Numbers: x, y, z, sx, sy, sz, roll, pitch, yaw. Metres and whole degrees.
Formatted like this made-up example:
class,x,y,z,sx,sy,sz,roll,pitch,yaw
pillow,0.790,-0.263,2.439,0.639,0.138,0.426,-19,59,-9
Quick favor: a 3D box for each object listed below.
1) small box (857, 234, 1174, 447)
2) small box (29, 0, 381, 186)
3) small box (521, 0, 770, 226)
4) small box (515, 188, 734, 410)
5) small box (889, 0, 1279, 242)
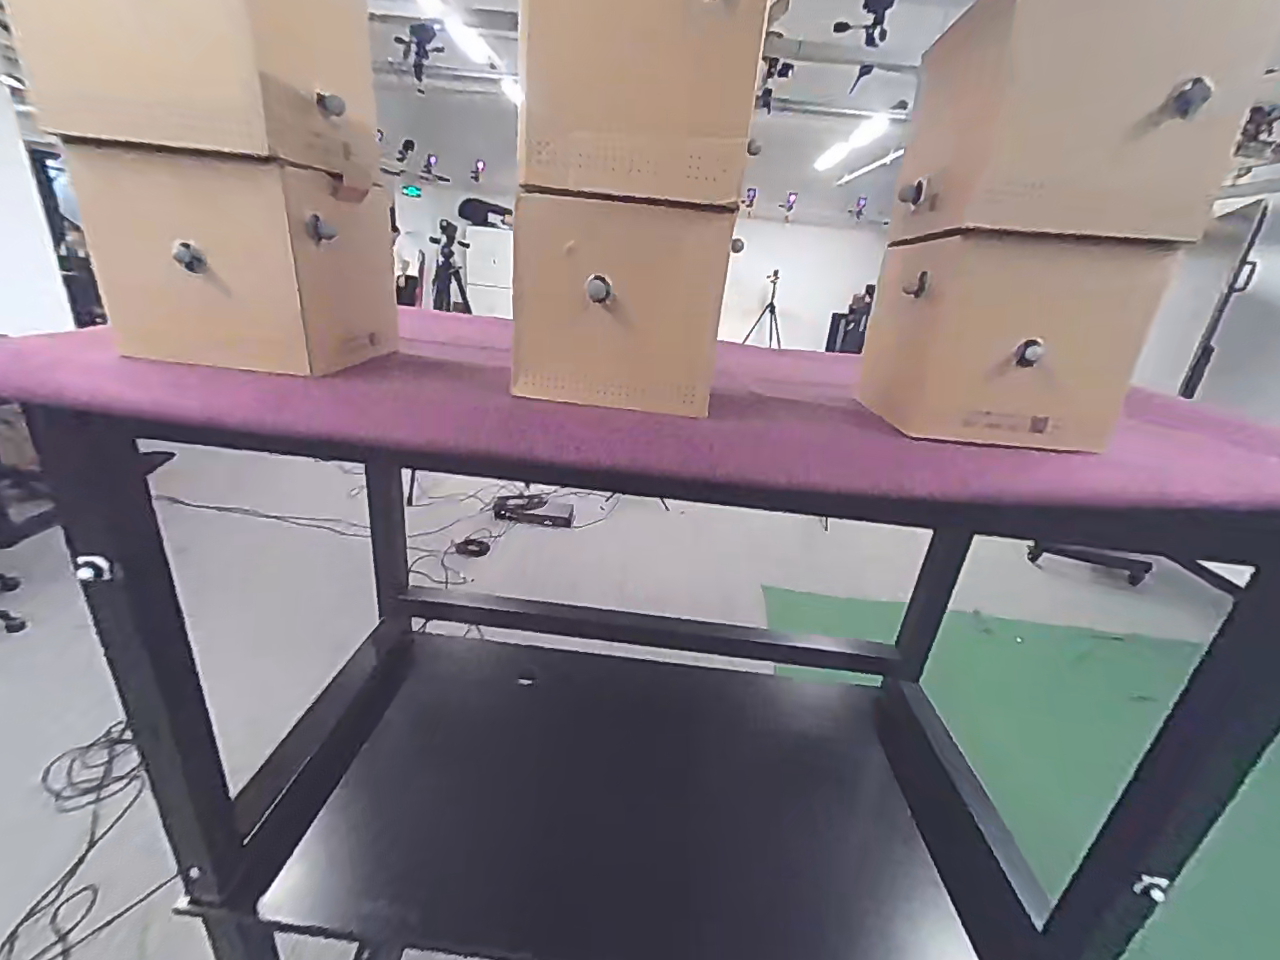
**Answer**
class,x,y,z,sx,sy,sz,roll,pitch,yaw
small box,0.328,-0.137,0.519,0.168,0.176,0.179,6,20,3
small box,-0.339,-0.353,0.442,0.179,0.176,0.168,7,23,1
small box,0.007,-0.318,0.454,0.179,0.176,0.168,9,22,5
small box,-0.012,-0.169,0.519,0.179,0.176,0.168,7,23,3
small box,0.336,-0.284,0.448,0.179,0.176,0.168,4,19,3
